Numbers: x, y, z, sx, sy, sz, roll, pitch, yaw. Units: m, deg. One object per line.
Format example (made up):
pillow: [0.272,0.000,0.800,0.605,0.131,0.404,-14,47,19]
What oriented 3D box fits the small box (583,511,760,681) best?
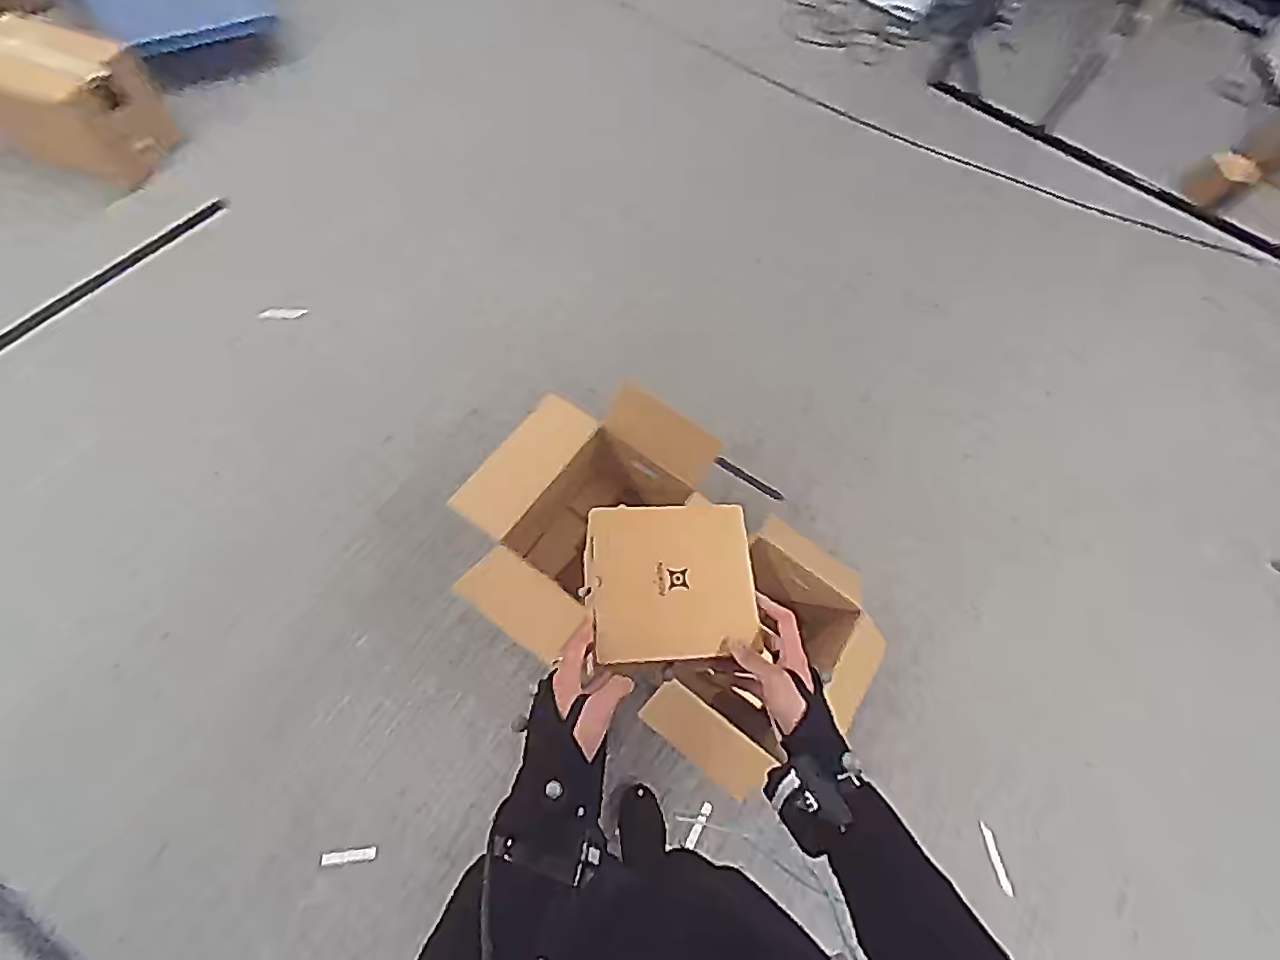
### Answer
small box: [0.023,0.143,0.643,0.179,0.176,0.168,-2,67,-7]
